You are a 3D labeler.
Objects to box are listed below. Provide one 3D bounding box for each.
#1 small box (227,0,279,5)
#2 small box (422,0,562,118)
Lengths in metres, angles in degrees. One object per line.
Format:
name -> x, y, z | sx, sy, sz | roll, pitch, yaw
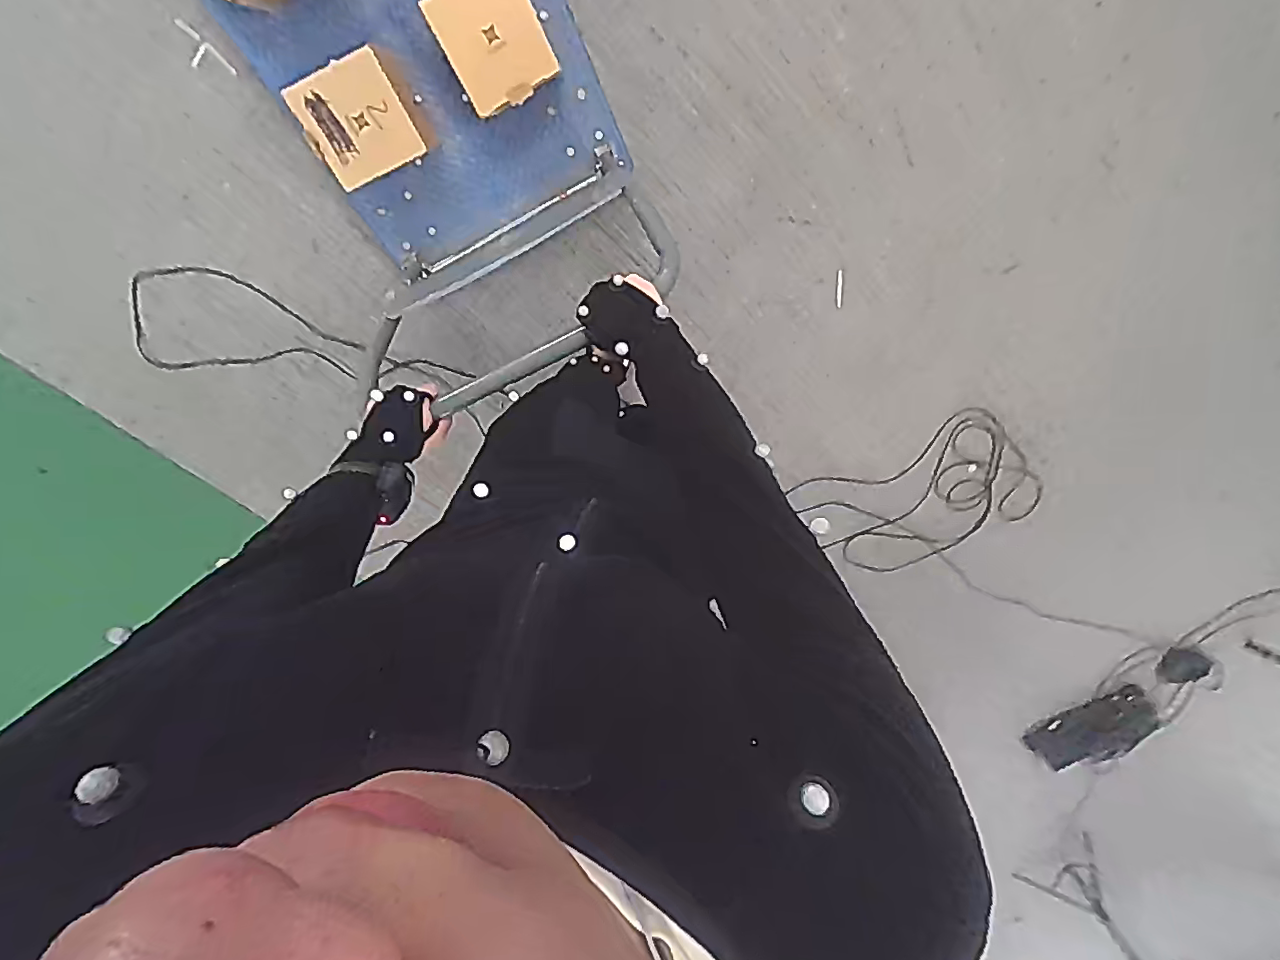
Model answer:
small box -> -0.615, -0.874, 0.828 | 0.168, 0.176, 0.179 | -29, 125, 11
small box -> -0.254, -0.779, 0.962 | 0.168, 0.176, 0.179 | -25, 127, 9
